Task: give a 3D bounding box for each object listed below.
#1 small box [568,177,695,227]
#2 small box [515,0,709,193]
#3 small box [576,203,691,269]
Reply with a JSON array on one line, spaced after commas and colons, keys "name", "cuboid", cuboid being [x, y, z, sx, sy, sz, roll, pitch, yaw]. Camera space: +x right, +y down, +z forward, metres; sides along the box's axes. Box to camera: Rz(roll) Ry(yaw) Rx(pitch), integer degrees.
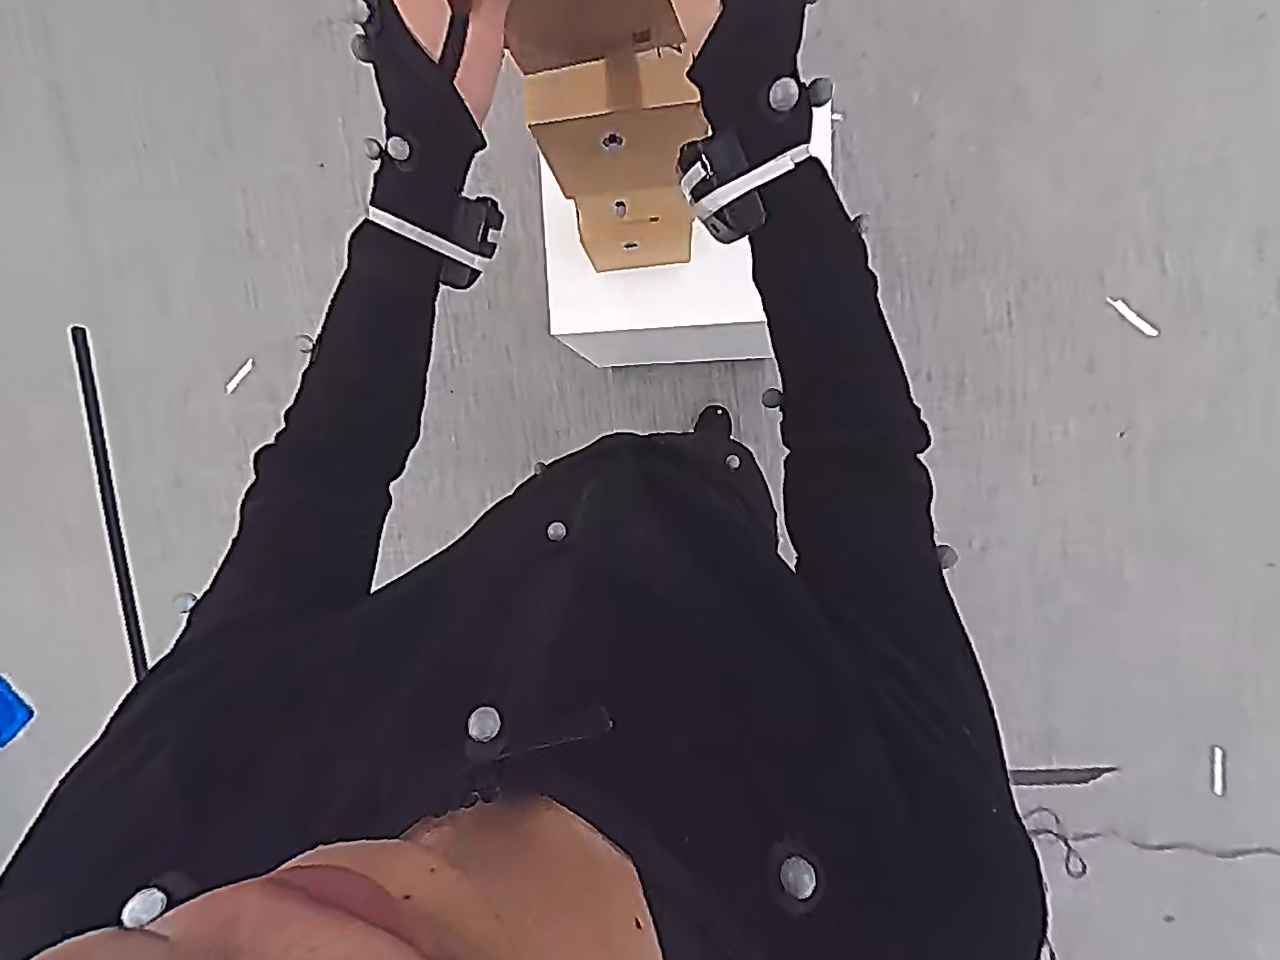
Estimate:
[{"name": "small box", "cuboid": [-0.010, -0.462, 0.737, 0.168, 0.176, 0.179, -4, 94, 5]}, {"name": "small box", "cuboid": [-0.020, -0.429, 0.575, 0.179, 0.176, 0.168, -4, 95, 5]}, {"name": "small box", "cuboid": [-0.008, -0.464, 0.900, 0.179, 0.176, 0.168, -5, 95, 4]}]
